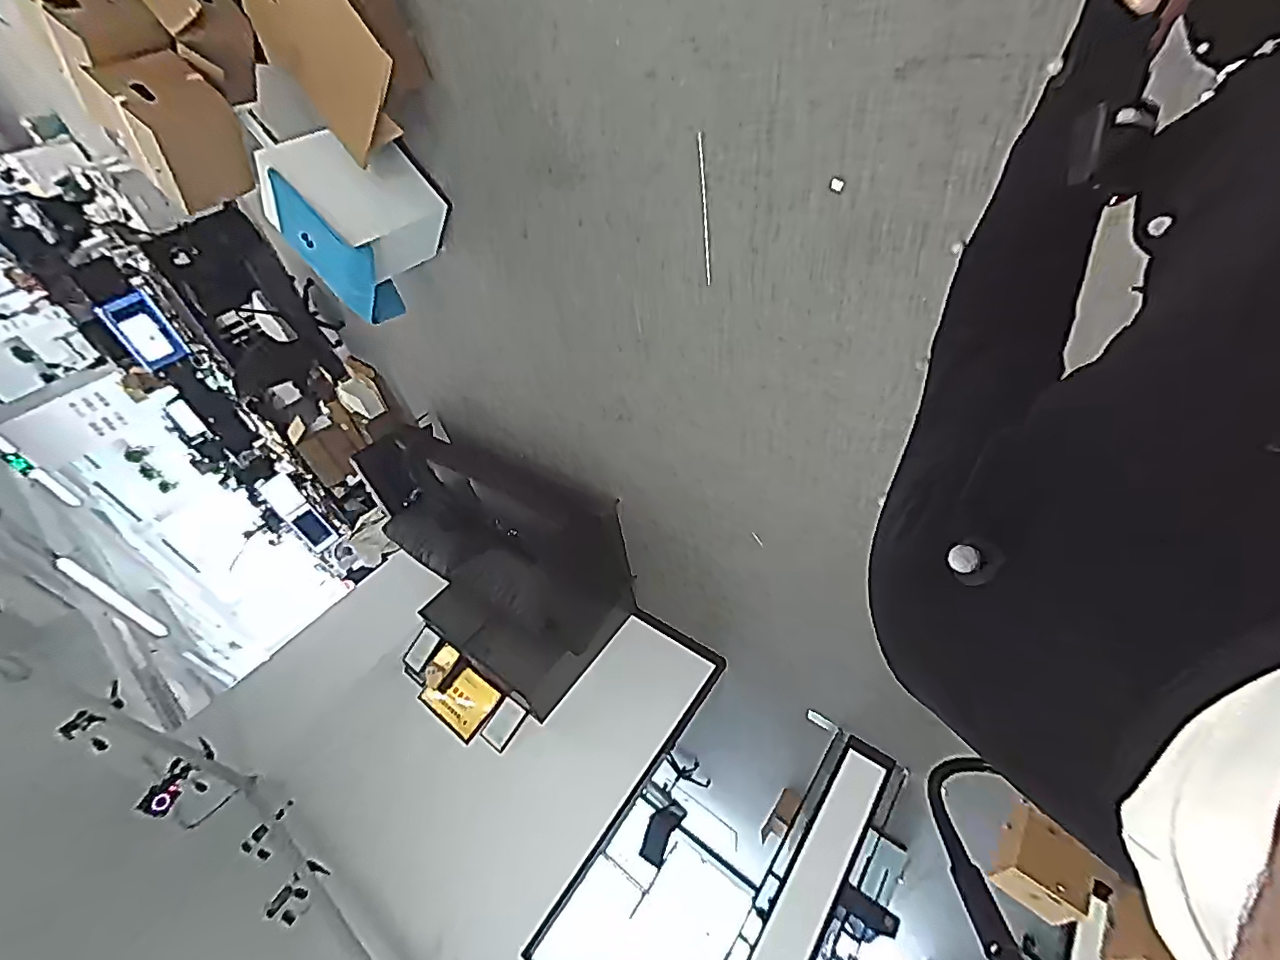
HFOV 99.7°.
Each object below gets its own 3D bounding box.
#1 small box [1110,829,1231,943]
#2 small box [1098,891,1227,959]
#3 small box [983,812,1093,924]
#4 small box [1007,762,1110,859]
[{"bbox_3d":[1.366,1.045,1.391,0.168,0.176,0.179,26,144,28],"label":"small box"},{"bbox_3d":[1.265,1.142,1.308,0.168,0.176,0.179,27,144,27],"label":"small box"},{"bbox_3d":[1.050,1.018,1.424,0.168,0.176,0.179,28,145,26],"label":"small box"},{"bbox_3d":[1.158,0.921,1.500,0.168,0.176,0.179,29,145,26],"label":"small box"}]
